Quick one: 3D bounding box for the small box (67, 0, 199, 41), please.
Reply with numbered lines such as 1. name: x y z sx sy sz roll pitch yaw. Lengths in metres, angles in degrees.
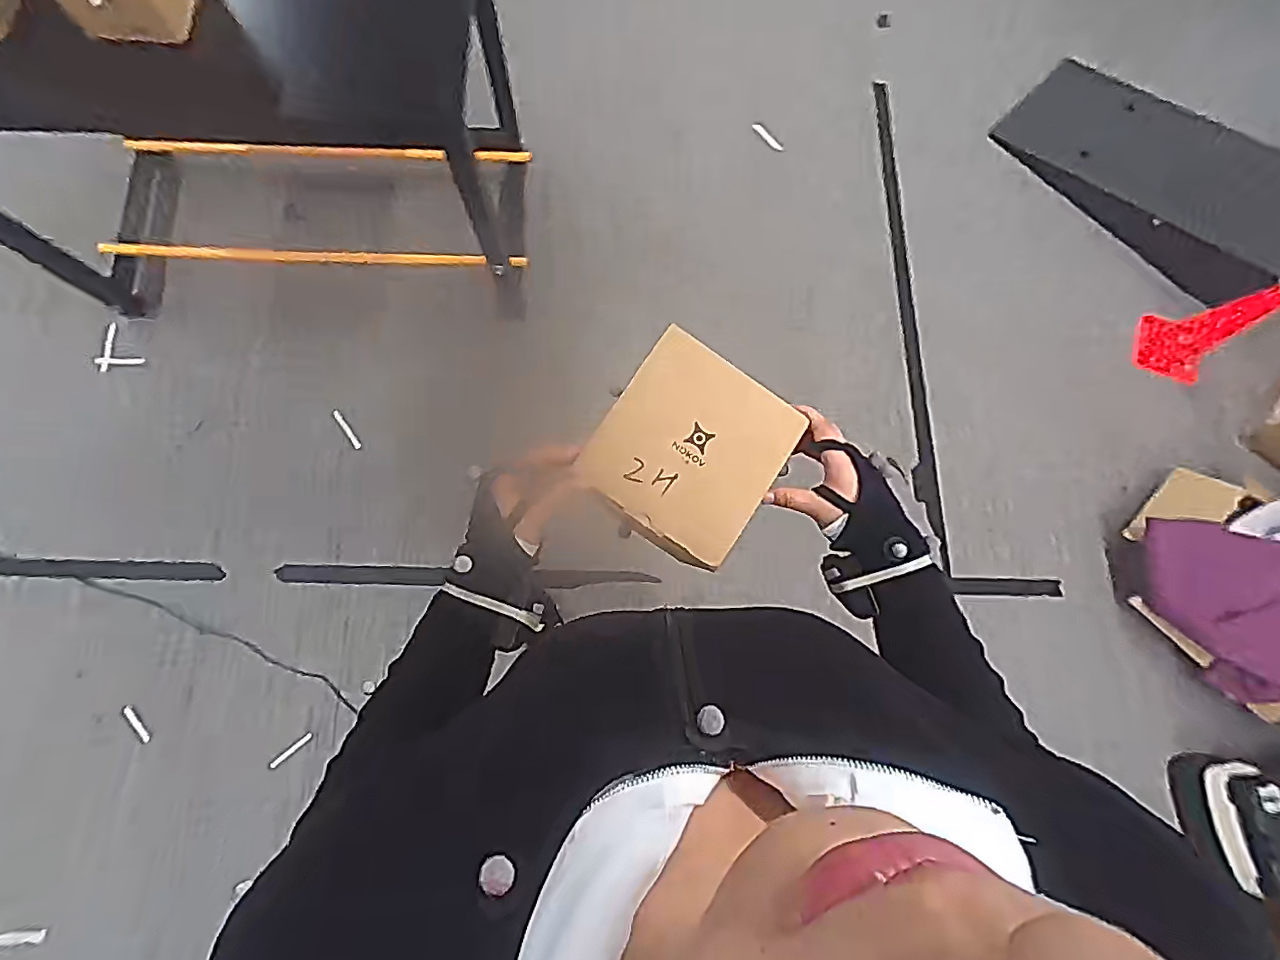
1. small box: -0.877 -0.881 0.900 0.168 0.176 0.179 2 78 -2
